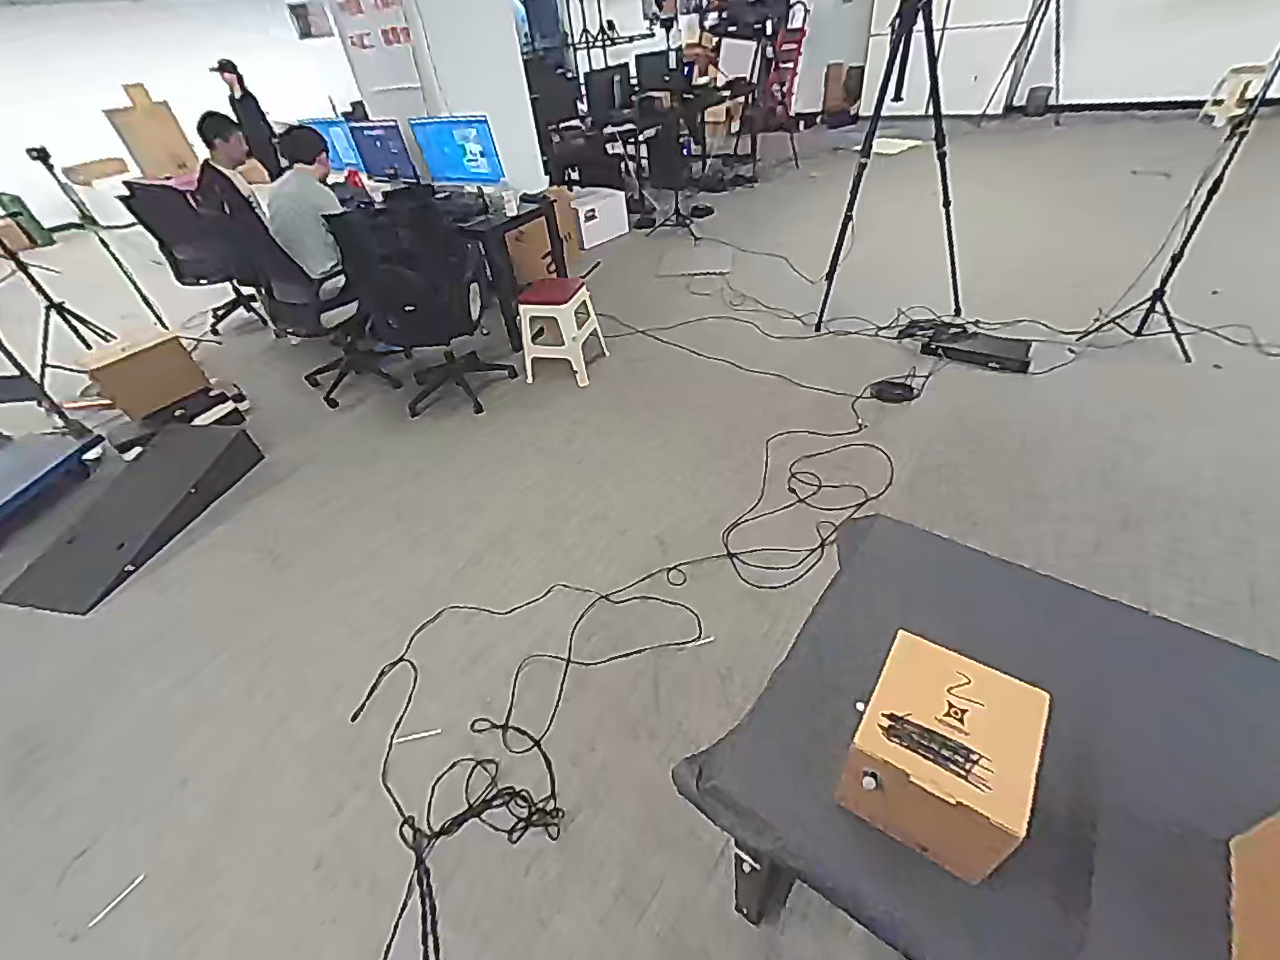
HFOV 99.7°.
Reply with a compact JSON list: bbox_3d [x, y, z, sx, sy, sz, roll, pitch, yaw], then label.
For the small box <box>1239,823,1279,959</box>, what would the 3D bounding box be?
[{"bbox_3d":[0.694,0.425,0.484,0.168,0.176,0.179,22,49,31],"label":"small box"}]
